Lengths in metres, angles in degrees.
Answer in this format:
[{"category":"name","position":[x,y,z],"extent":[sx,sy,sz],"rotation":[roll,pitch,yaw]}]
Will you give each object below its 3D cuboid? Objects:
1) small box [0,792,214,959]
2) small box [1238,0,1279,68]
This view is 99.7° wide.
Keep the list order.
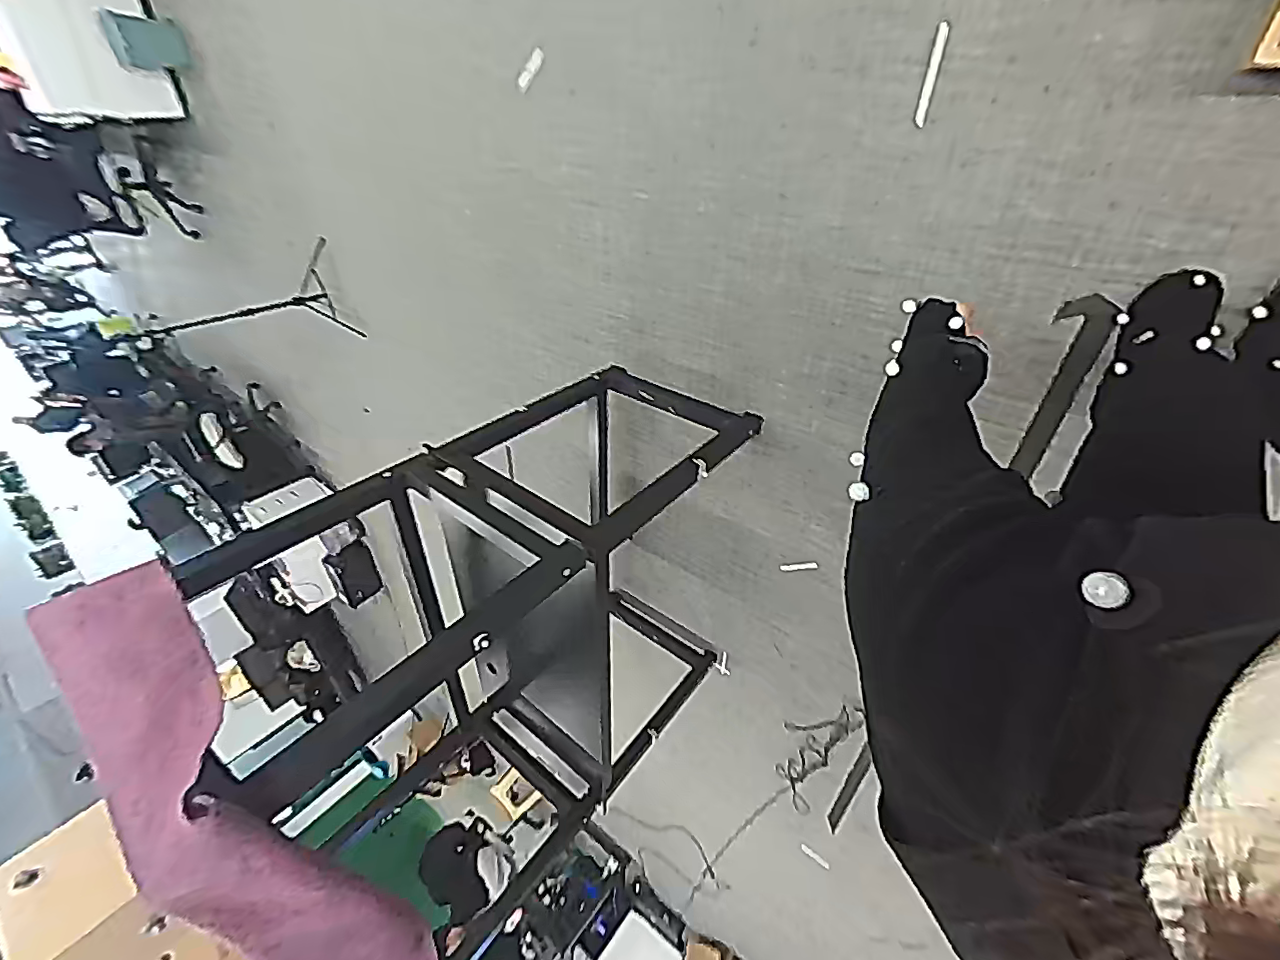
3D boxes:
[{"category":"small box","position":[-0.764,0.588,0.777],"extent":[0.179,0.176,0.168],"rotation":[29,135,27]},{"category":"small box","position":[0.874,-0.589,0.636],"extent":[0.179,0.176,0.168],"rotation":[25,132,29]}]
